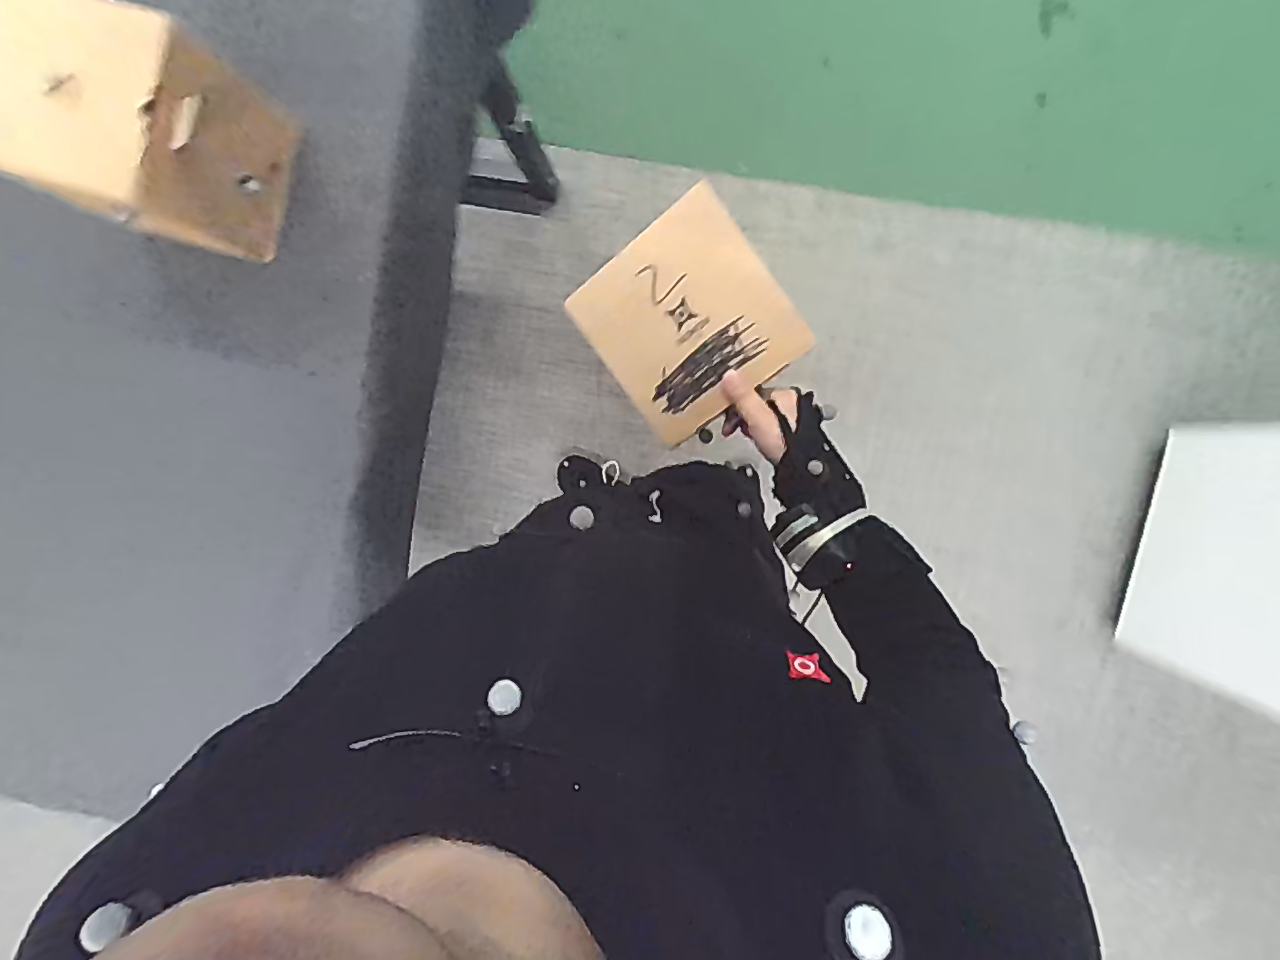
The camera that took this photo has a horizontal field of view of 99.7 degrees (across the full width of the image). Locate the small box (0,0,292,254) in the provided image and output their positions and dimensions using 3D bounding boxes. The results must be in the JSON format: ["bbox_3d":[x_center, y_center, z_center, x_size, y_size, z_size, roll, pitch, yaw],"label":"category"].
[{"bbox_3d":[-0.509,-0.355,0.555,0.179,0.176,0.168,15,95,2],"label":"small box"}]
